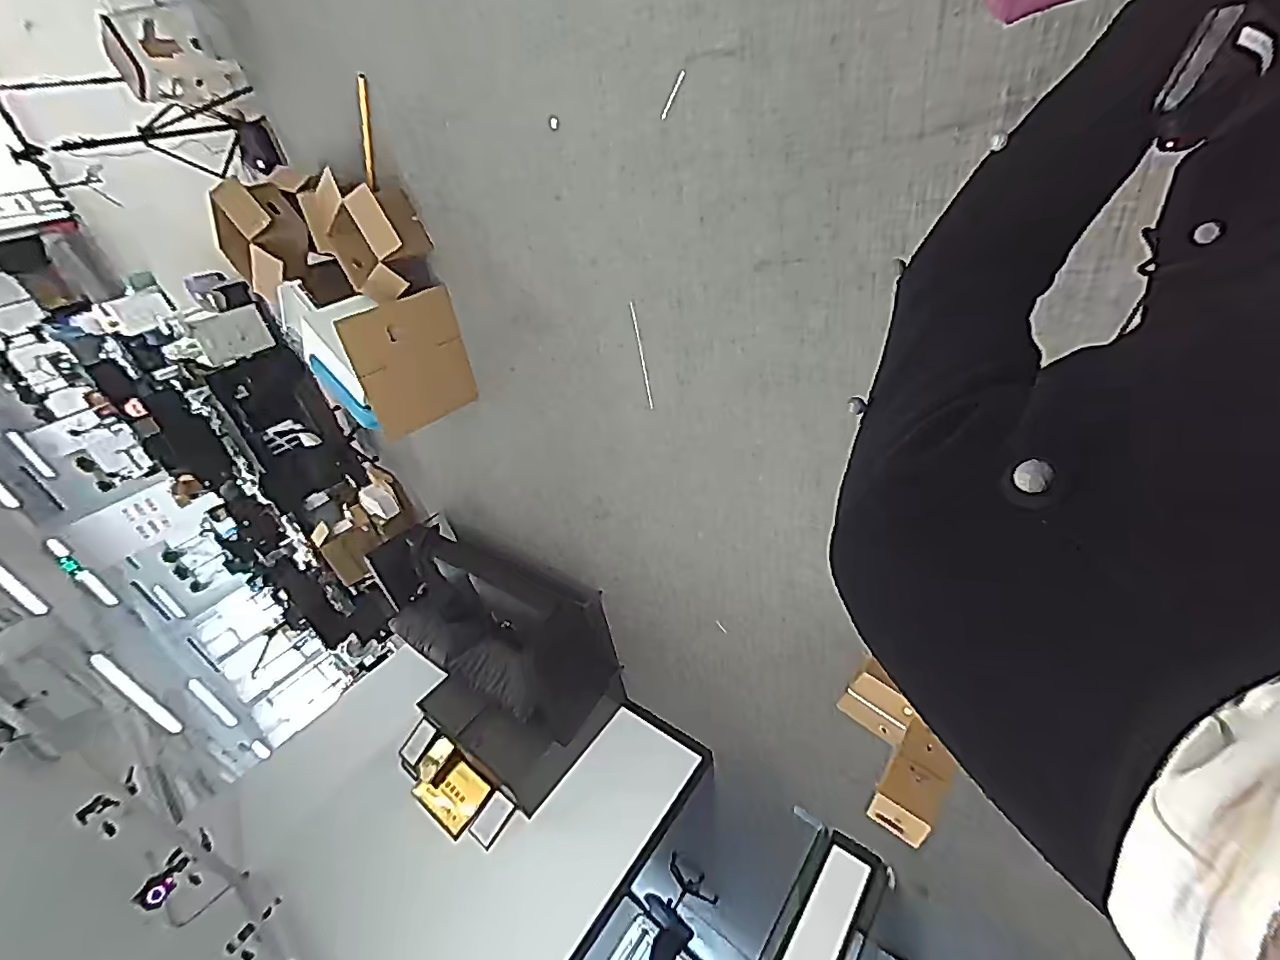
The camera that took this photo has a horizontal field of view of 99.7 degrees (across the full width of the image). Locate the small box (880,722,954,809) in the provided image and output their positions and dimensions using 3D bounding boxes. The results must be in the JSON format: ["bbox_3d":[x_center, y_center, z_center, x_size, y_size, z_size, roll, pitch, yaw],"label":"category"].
[{"bbox_3d":[0.964,0.984,1.874,0.168,0.176,0.179,26,136,30],"label":"small box"}]

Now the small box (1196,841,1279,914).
[{"bbox_3d":[1.524,1.034,1.330,0.168,0.176,0.179,55,143,-7],"label":"small box"}]

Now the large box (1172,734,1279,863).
[{"bbox_3d":[1.734,0.915,1.423,0.320,0.320,0.408,55,142,-8],"label":"large box"}]

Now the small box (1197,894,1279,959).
[{"bbox_3d":[1.418,1.110,1.234,0.168,0.176,0.179,-23,102,52],"label":"small box"}]
